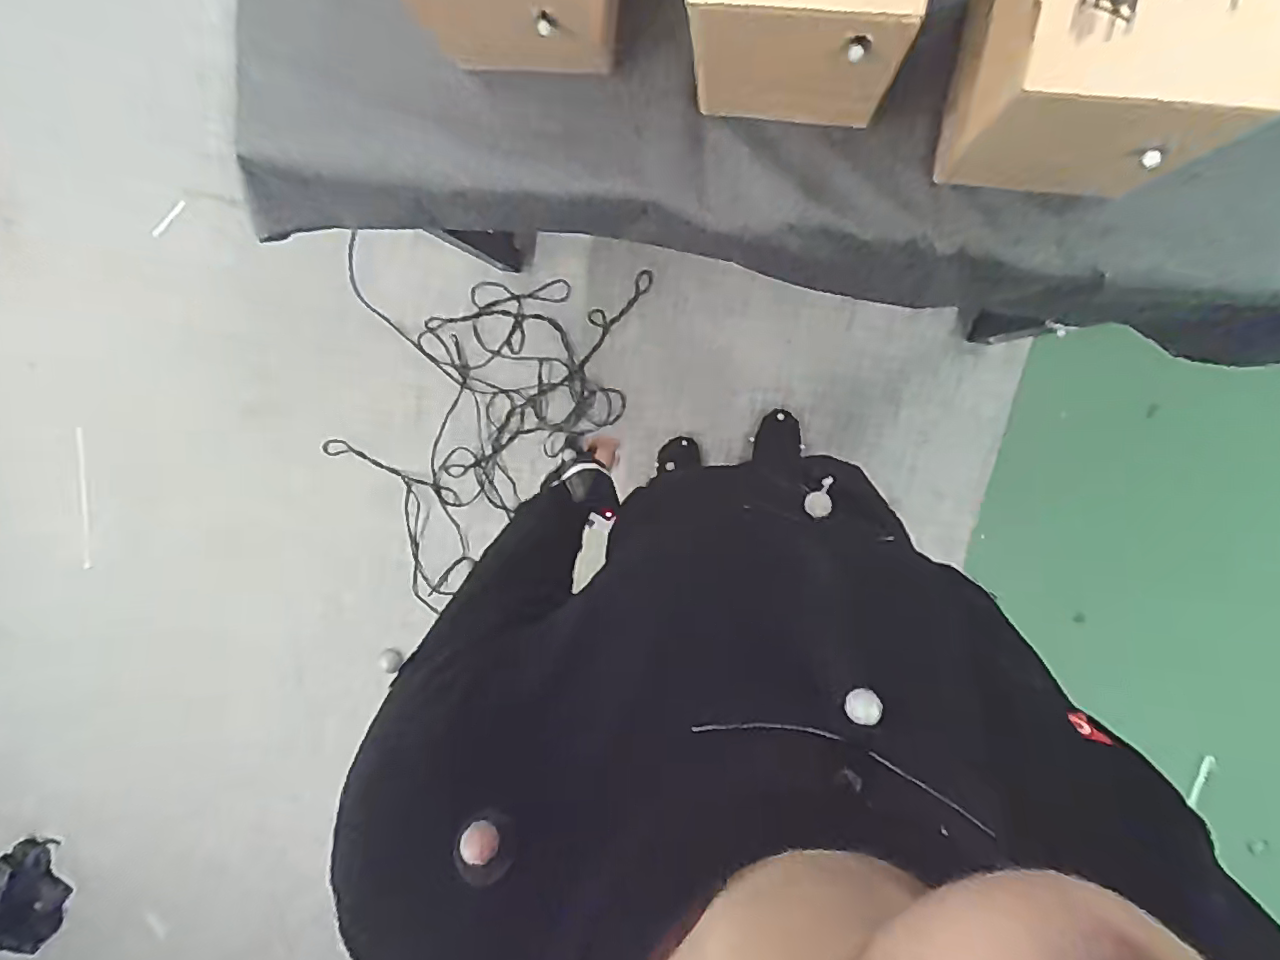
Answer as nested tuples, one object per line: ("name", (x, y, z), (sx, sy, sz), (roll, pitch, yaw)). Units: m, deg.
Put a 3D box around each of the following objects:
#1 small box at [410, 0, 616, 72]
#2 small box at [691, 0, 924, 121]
("small box", (-0.115, -0.512, 0.496), (0.179, 0.176, 0.168), (8, 99, 9))
("small box", (0.144, -0.441, 0.466), (0.179, 0.176, 0.168), (9, 100, 7))
